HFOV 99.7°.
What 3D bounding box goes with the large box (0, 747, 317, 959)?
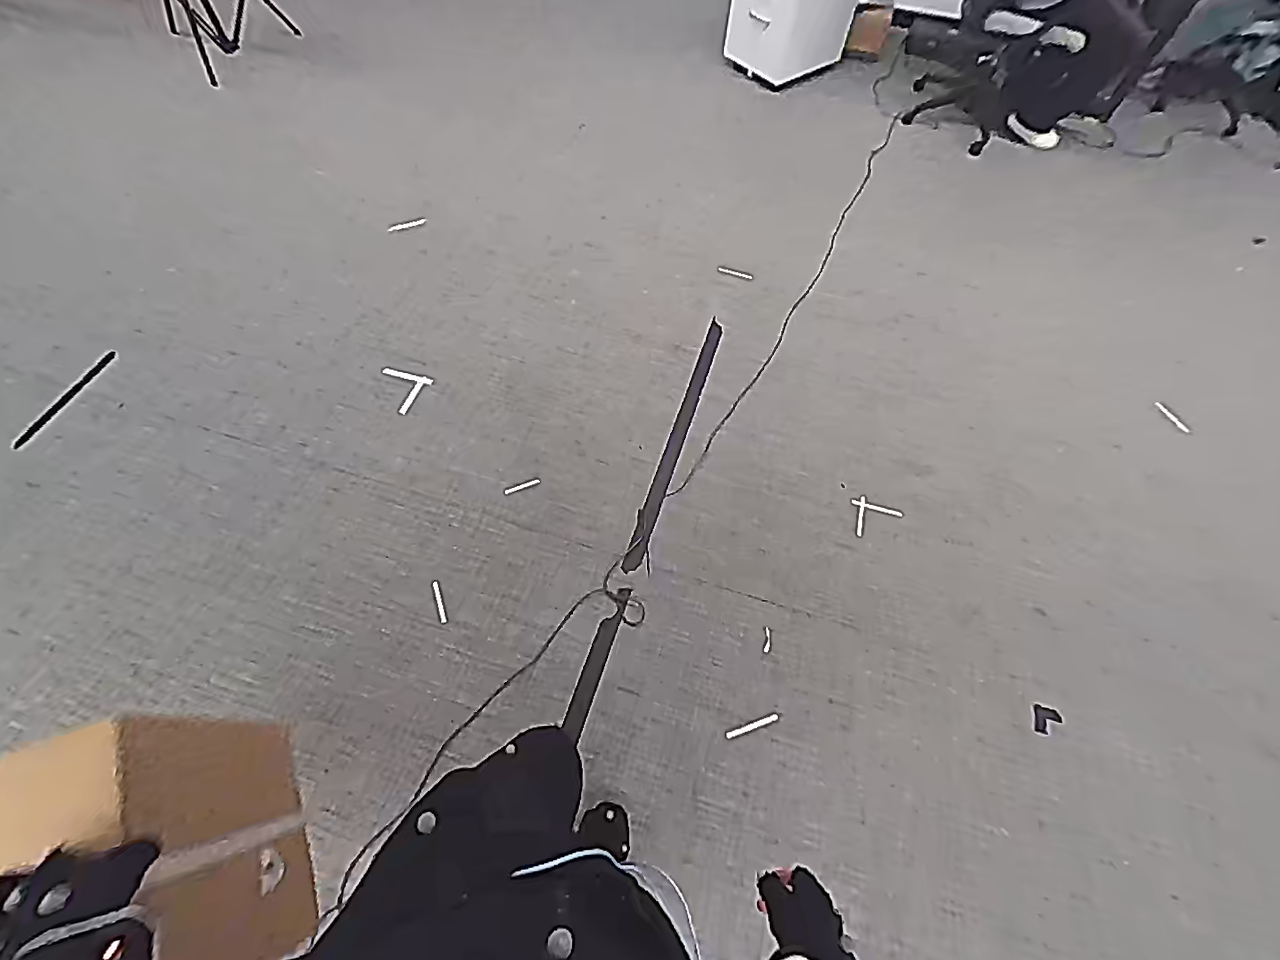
[{"bbox_3d":[-0.647,0.539,0.632,0.320,0.408,0.320,-19,69,-18],"label":"large box"}]
